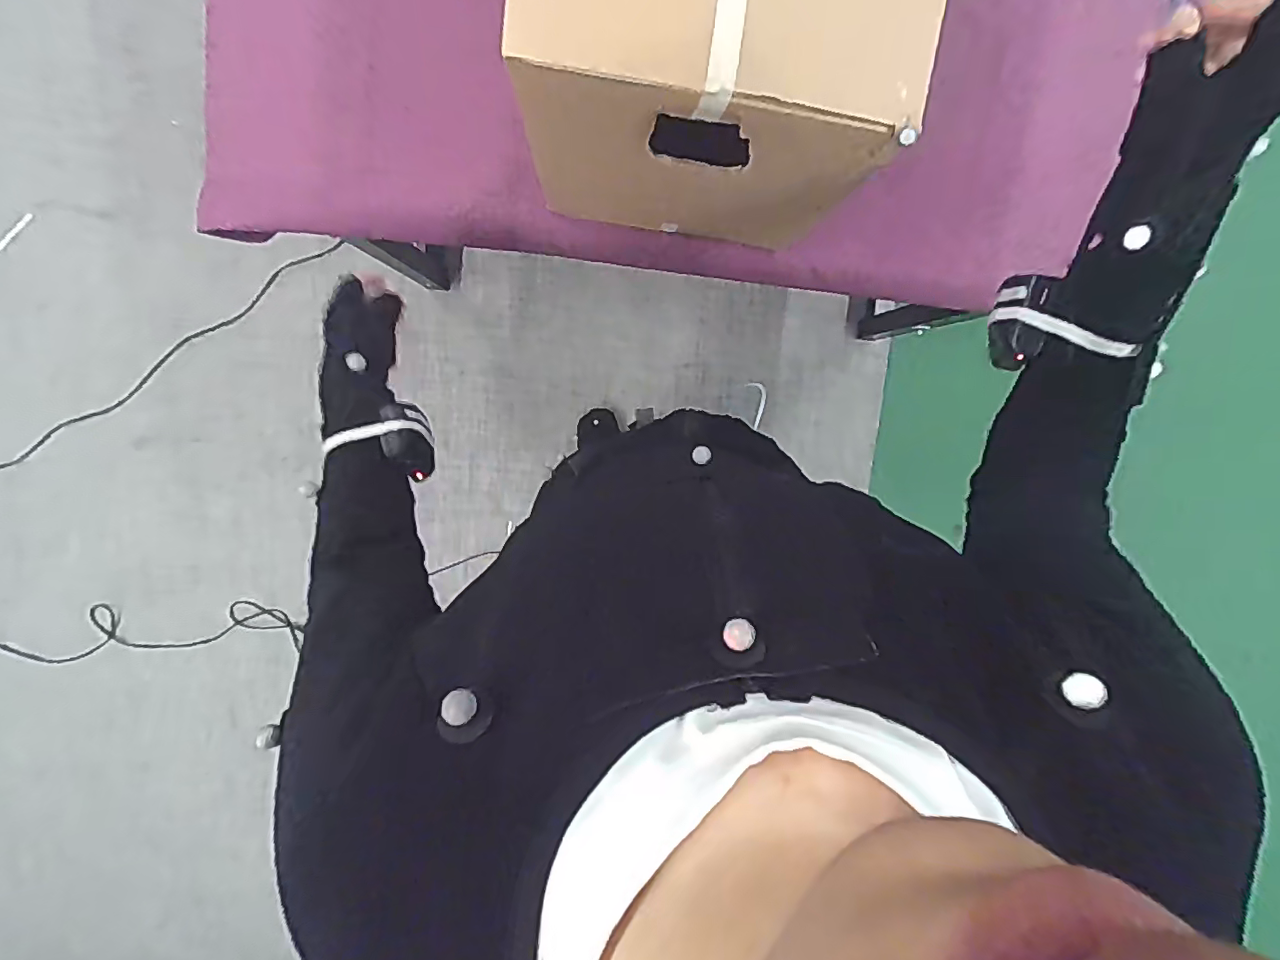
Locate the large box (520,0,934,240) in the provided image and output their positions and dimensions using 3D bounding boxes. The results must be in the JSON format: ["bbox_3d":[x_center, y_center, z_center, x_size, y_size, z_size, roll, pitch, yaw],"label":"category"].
[{"bbox_3d":[0.075,-0.505,0.529,0.320,0.320,0.408,8,99,-4],"label":"large box"}]
